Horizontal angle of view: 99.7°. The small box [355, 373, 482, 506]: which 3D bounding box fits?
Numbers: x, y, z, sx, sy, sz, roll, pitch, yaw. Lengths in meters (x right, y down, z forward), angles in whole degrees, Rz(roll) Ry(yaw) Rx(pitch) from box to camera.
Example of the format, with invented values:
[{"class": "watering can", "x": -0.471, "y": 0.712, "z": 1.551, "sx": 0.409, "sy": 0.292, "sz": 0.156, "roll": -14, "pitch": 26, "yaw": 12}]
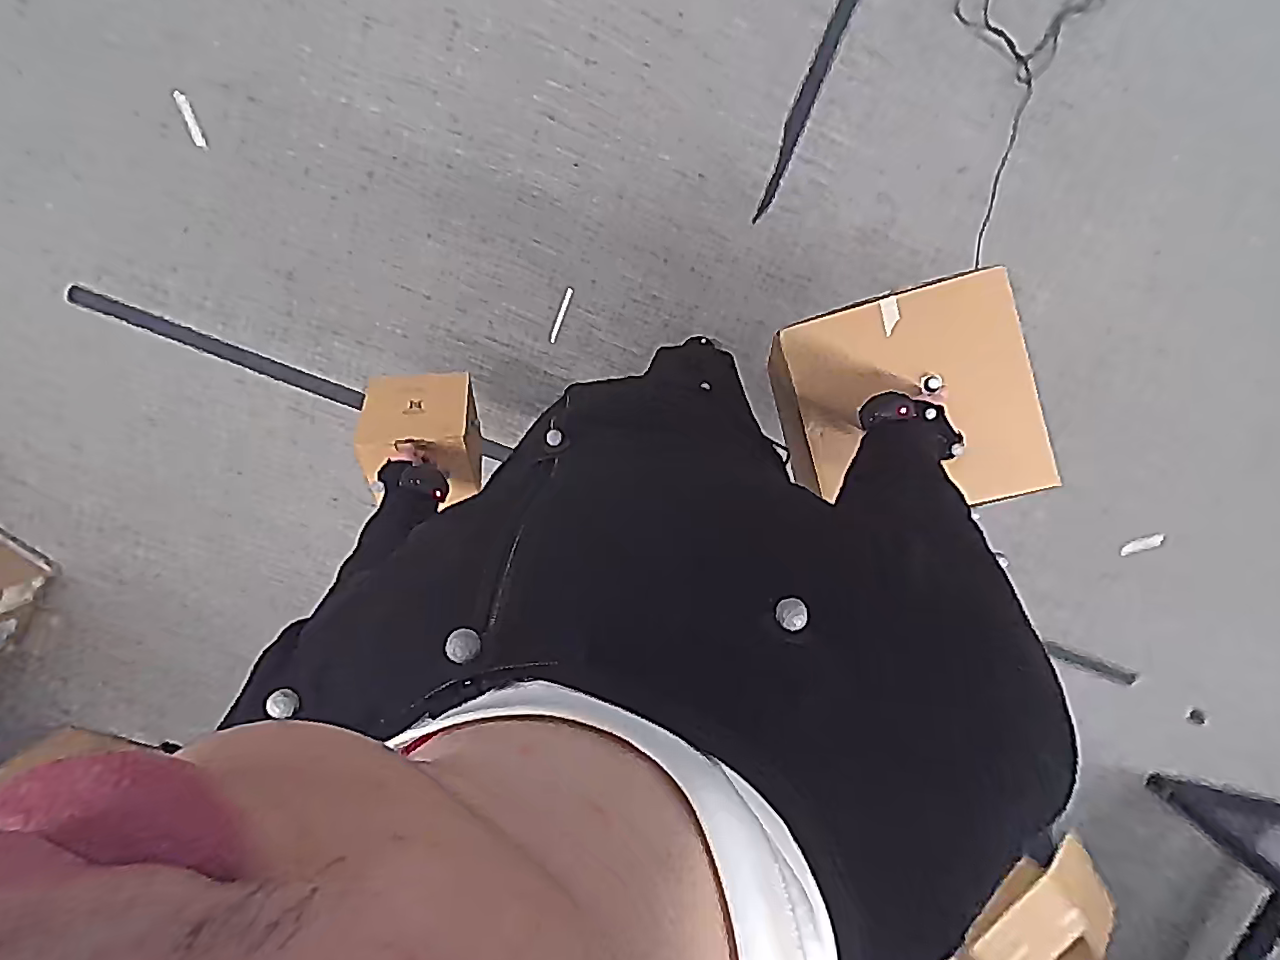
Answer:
[{"class": "small box", "x": -0.371, "y": -0.066, "z": 0.942, "sx": 0.168, "sy": 0.179, "sz": 0.176, "roll": -3, "pitch": 137, "yaw": -10}]
